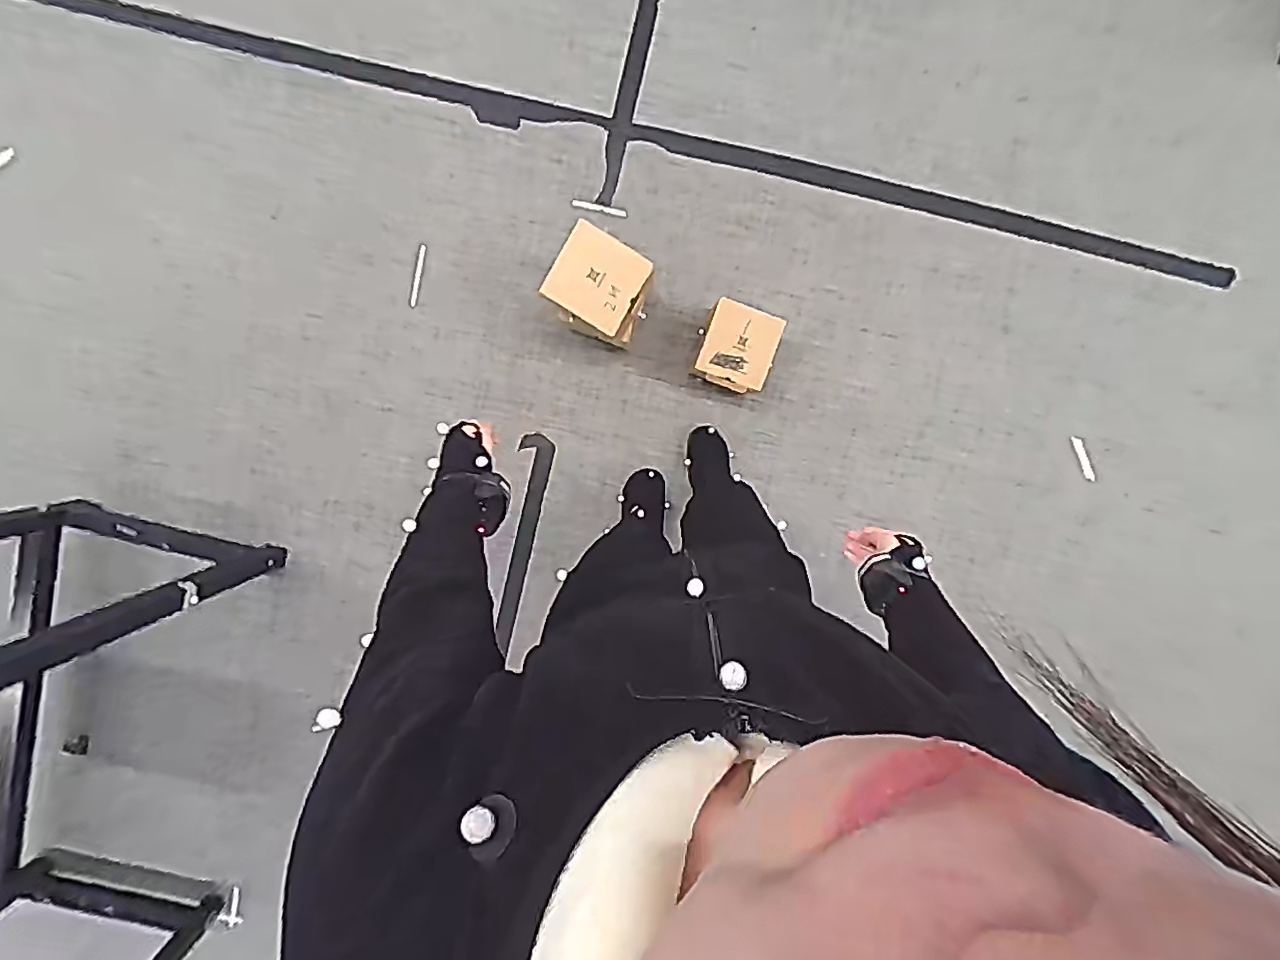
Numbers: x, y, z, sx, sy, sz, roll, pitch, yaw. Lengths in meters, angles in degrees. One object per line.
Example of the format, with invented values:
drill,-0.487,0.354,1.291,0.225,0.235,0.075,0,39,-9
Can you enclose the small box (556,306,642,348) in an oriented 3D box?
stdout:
small box,-0.087,-0.425,1.304,0.179,0.176,0.168,19,97,-4

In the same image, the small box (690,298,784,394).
small box,0.227,-0.318,1.322,0.168,0.176,0.179,20,97,-3

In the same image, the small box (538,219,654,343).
small box,-0.086,-0.405,1.140,0.179,0.176,0.168,32,97,-4
